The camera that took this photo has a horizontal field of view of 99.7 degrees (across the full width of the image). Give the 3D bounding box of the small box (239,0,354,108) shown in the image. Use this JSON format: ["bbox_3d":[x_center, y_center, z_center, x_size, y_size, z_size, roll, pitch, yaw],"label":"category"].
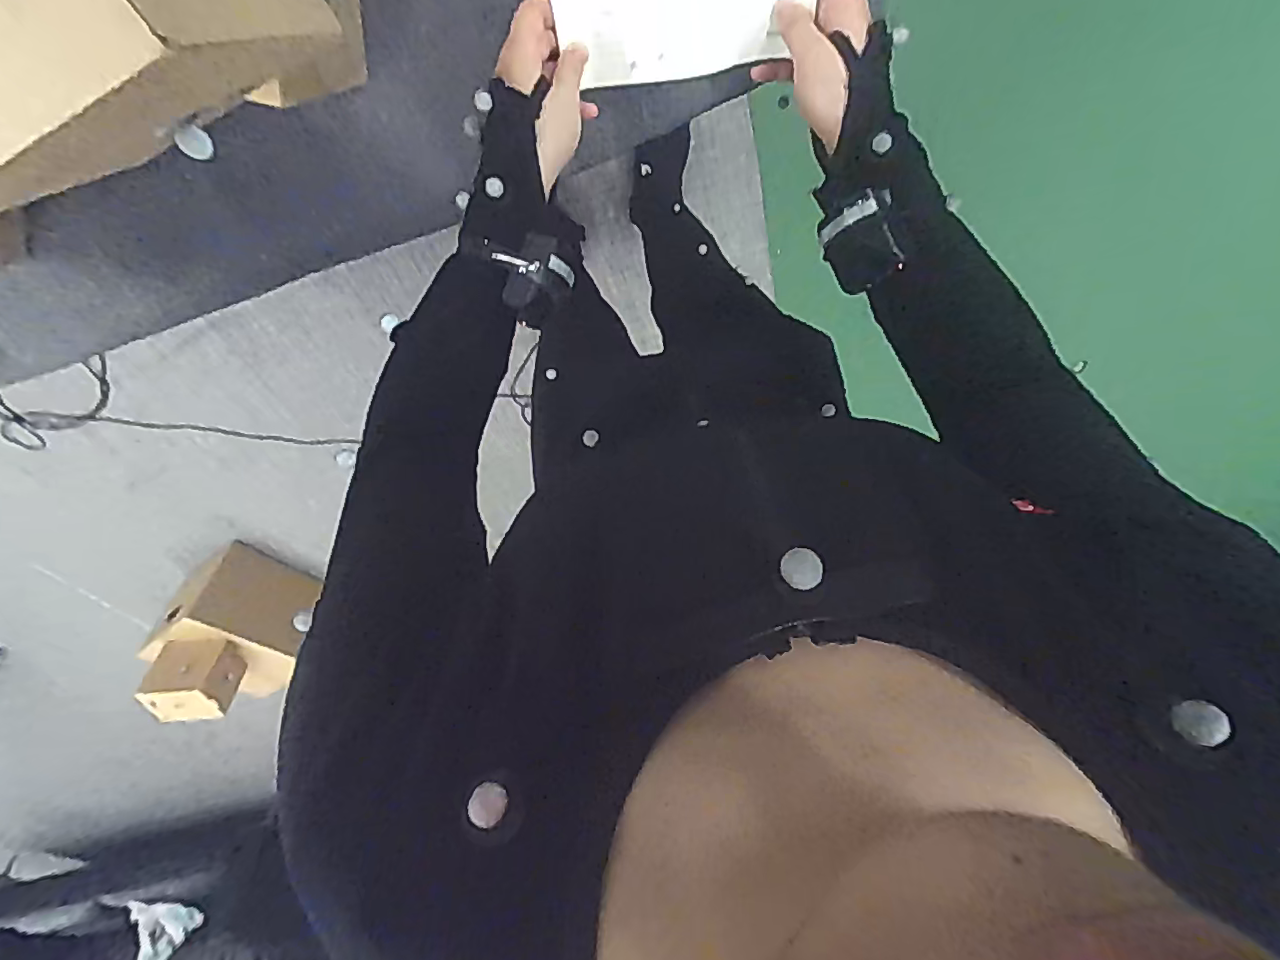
[{"bbox_3d":[-0.285,-0.344,0.314,0.179,0.176,0.168,7,131,-10],"label":"small box"}]

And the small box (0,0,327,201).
[{"bbox_3d":[-0.267,-0.225,0.201,0.168,0.176,0.179,-19,131,13],"label":"small box"}]

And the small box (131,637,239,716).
[{"bbox_3d":[-1.347,0.585,1.623,0.179,0.176,0.168,-1,132,-8],"label":"small box"}]
